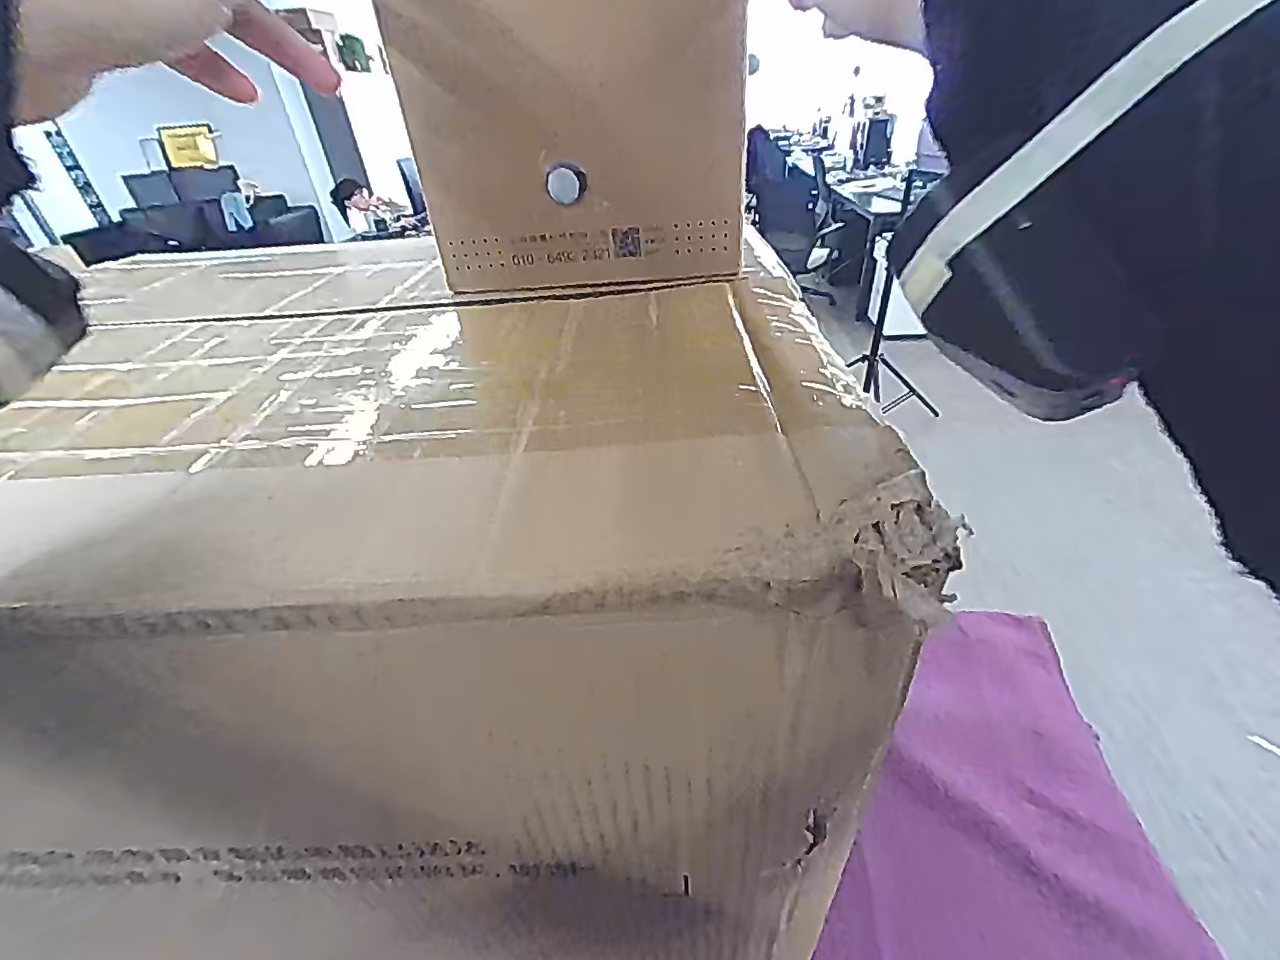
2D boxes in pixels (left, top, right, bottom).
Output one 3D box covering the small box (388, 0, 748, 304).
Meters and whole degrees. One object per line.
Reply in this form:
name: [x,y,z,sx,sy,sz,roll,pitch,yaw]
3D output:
small box: [-0.027,-0.216,0.329,0.168,0.176,0.179,-2,35,6]
